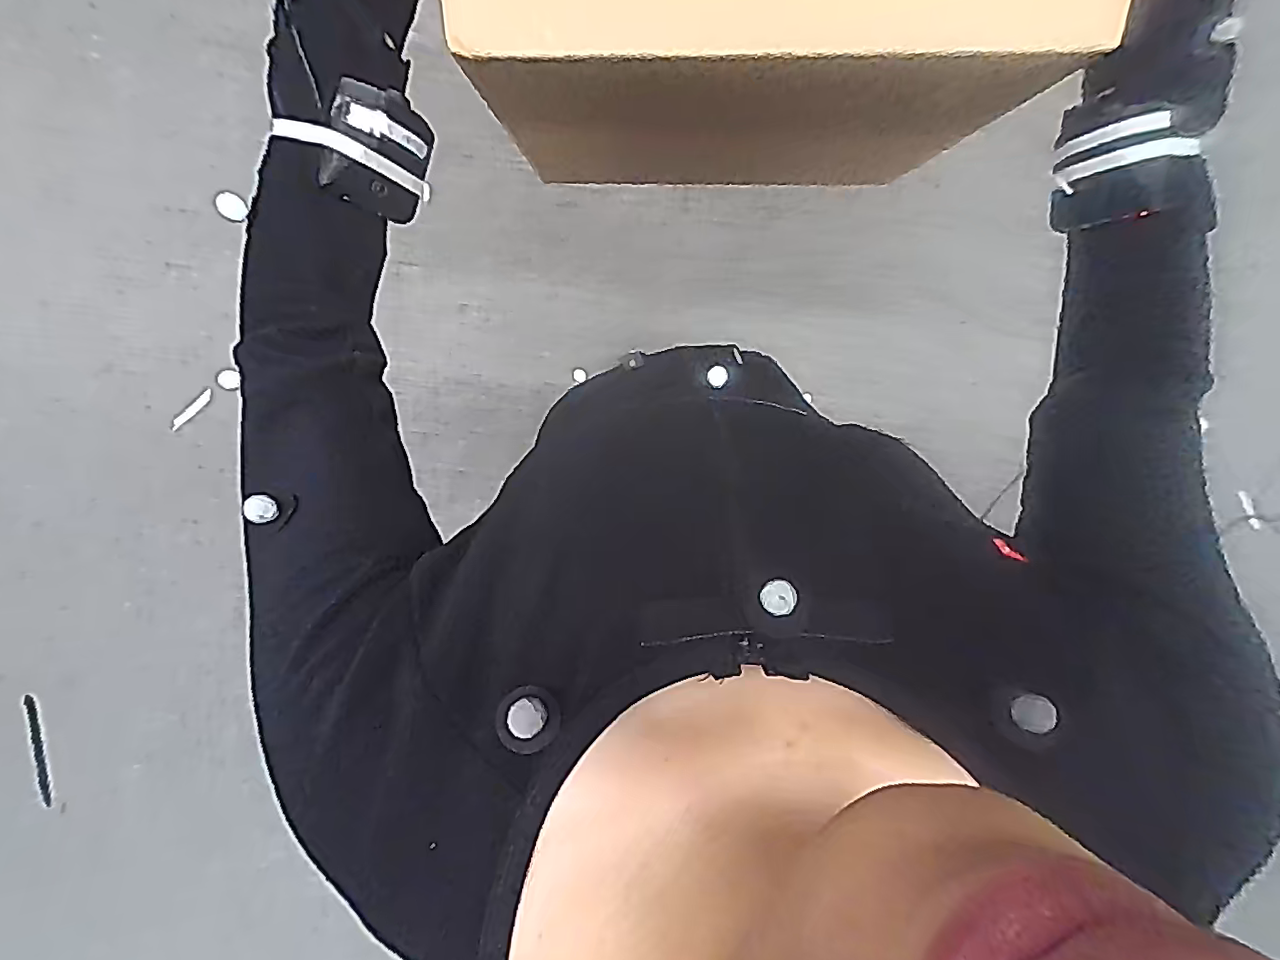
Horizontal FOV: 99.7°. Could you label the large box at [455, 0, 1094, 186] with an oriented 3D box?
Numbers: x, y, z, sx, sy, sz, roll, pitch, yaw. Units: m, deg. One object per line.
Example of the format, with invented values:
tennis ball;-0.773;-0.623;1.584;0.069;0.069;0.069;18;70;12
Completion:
large box;0.078;-0.455;0.444;0.408;0.320;0.320;-1;106;0
